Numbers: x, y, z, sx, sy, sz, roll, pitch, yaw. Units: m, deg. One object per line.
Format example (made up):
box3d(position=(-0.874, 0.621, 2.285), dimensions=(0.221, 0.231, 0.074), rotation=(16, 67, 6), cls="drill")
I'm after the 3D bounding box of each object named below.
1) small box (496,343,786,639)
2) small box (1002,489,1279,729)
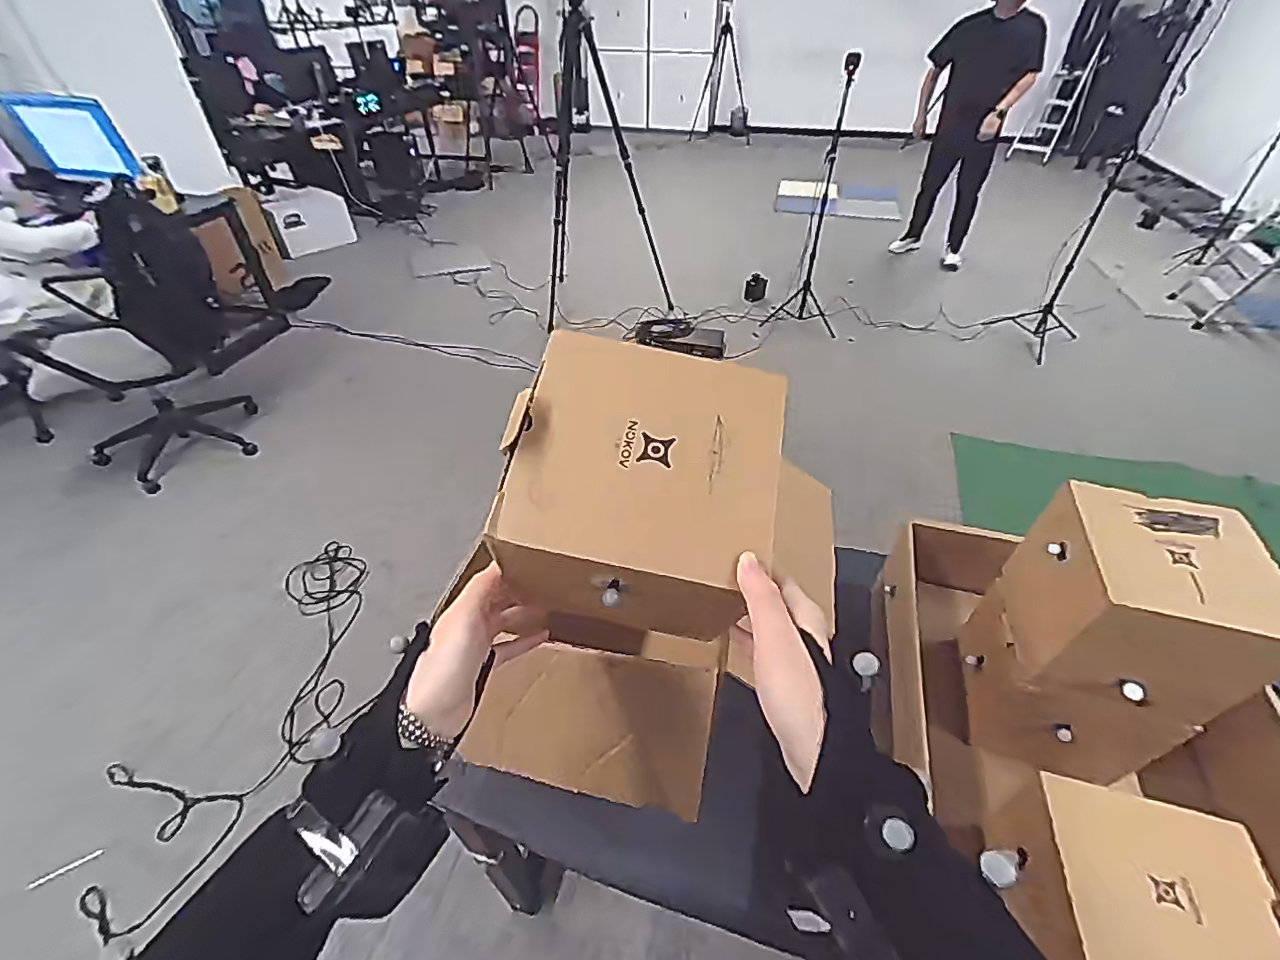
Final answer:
box3d(position=(0.001, 0.021, 0.438), dimensions=(0.179, 0.176, 0.168), rotation=(13, 64, -1), cls="small box")
box3d(position=(0.539, 0.142, 0.605), dimensions=(0.168, 0.176, 0.179), rotation=(12, 45, 13), cls="small box")
